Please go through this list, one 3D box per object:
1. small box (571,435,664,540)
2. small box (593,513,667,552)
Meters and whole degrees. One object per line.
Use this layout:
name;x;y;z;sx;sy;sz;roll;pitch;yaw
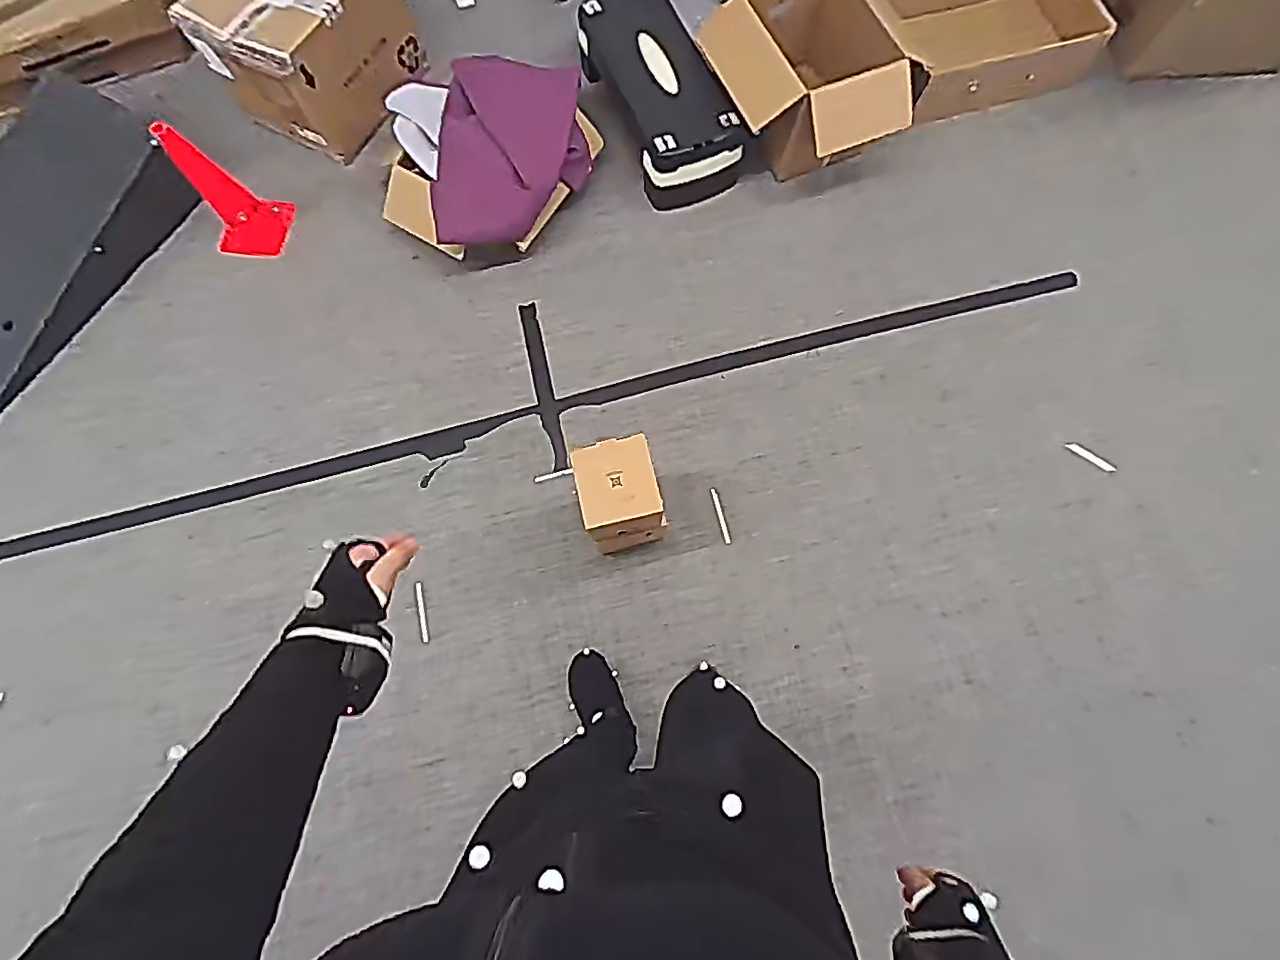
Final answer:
small box;-0.050;0.022;1.197;0.168;0.176;0.179;-14;77;-2
small box;-0.041;0.073;1.352;0.179;0.176;0.168;-15;75;-4
